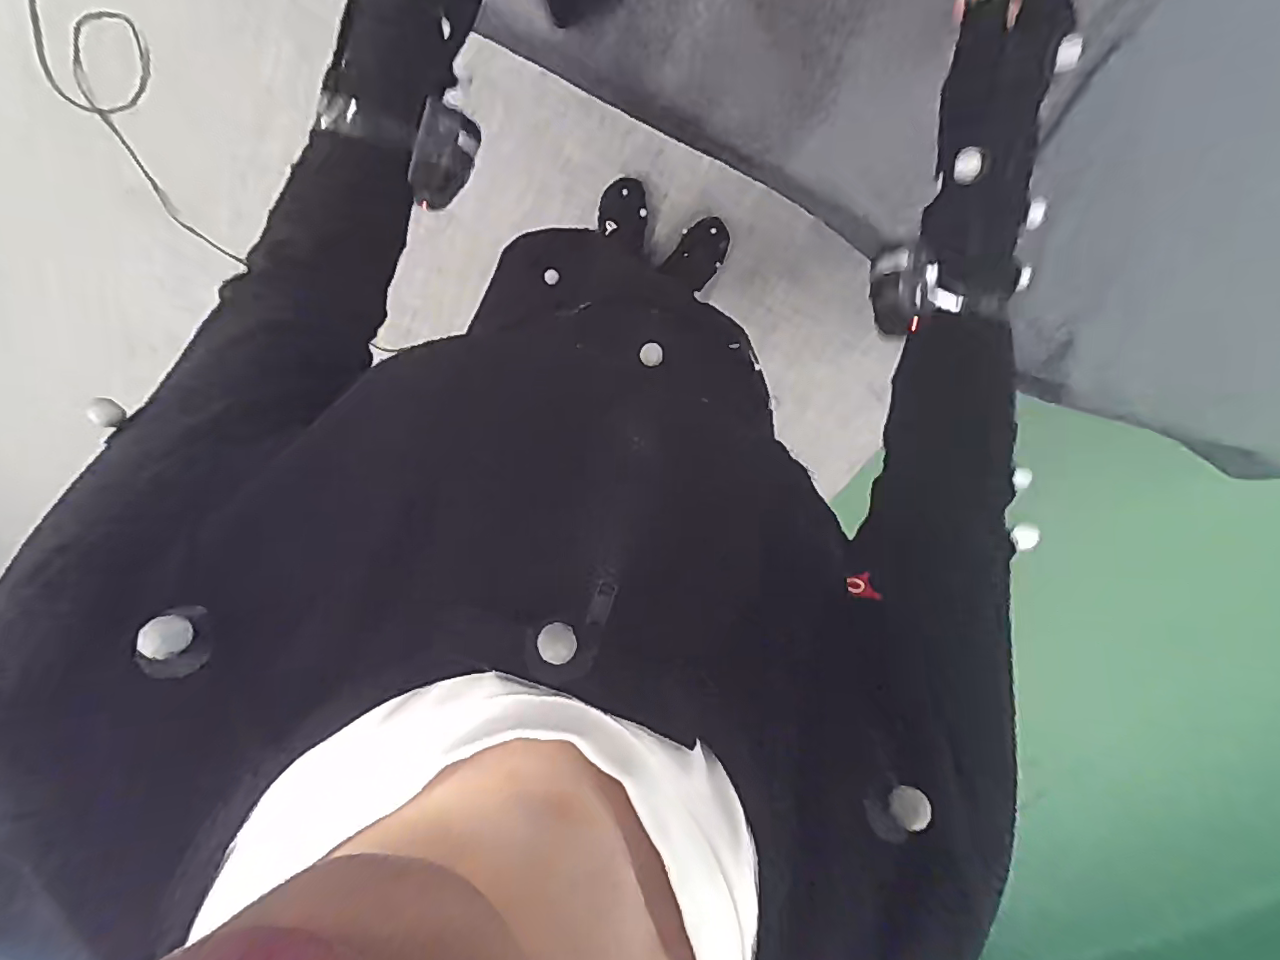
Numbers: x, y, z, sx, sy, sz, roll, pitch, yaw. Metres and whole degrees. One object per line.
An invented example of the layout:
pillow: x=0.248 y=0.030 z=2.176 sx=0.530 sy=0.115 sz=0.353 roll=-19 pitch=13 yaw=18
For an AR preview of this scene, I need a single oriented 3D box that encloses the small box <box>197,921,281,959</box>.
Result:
small box: x=-1.124 y=1.345 z=1.477 sx=0.179 sy=0.176 sz=0.168 roll=29 pitch=121 yaw=-11
